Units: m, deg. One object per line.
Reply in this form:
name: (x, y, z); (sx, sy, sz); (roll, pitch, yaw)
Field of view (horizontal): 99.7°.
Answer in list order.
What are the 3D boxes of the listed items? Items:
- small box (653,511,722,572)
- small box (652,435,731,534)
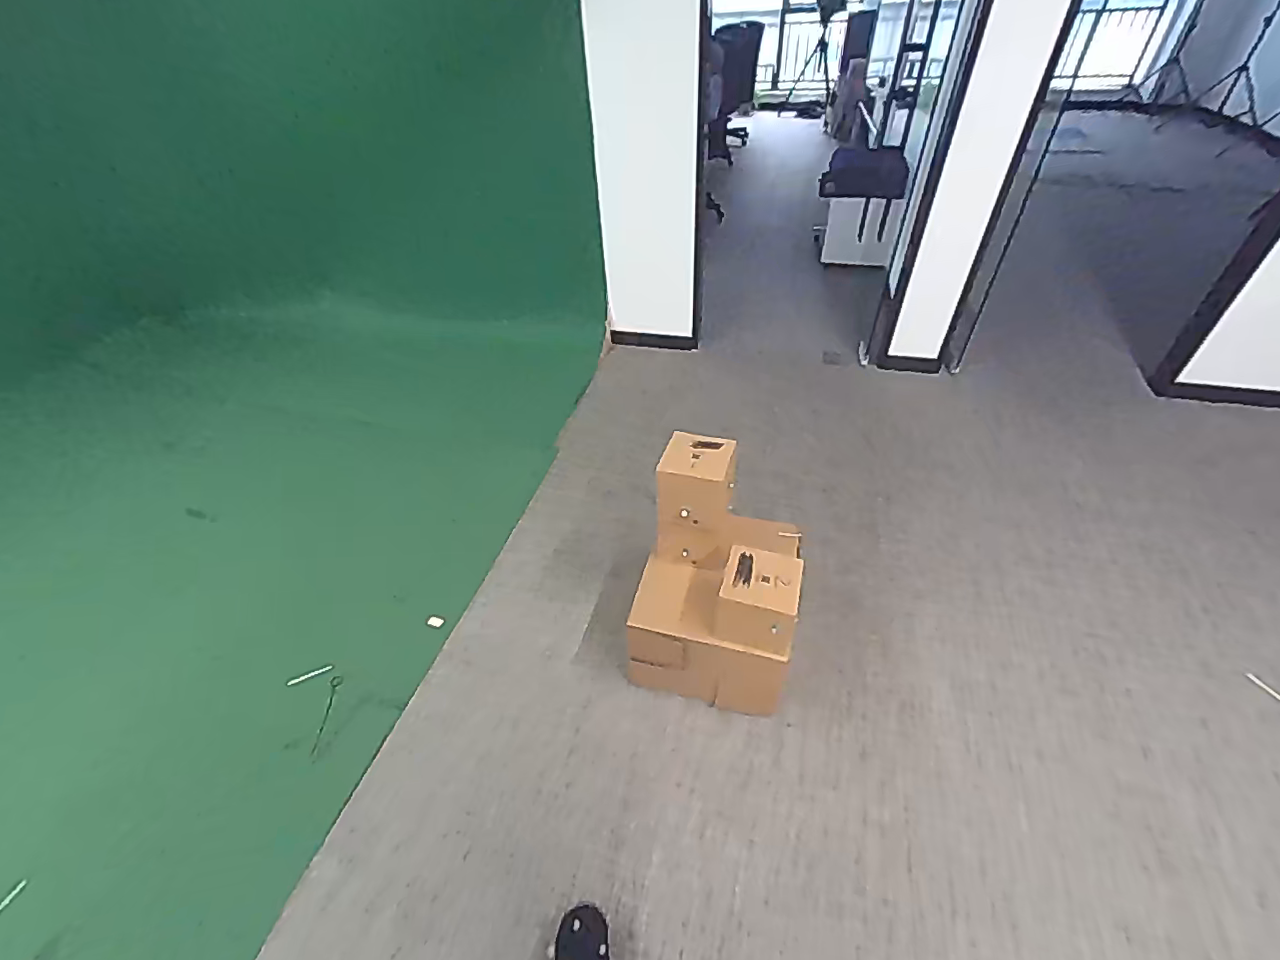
small box: (0.134, 0.127, 1.505); (0.168, 0.176, 0.179); (8, 40, 14)
small box: (0.132, 0.010, 1.388); (0.168, 0.176, 0.179); (10, 41, 15)
